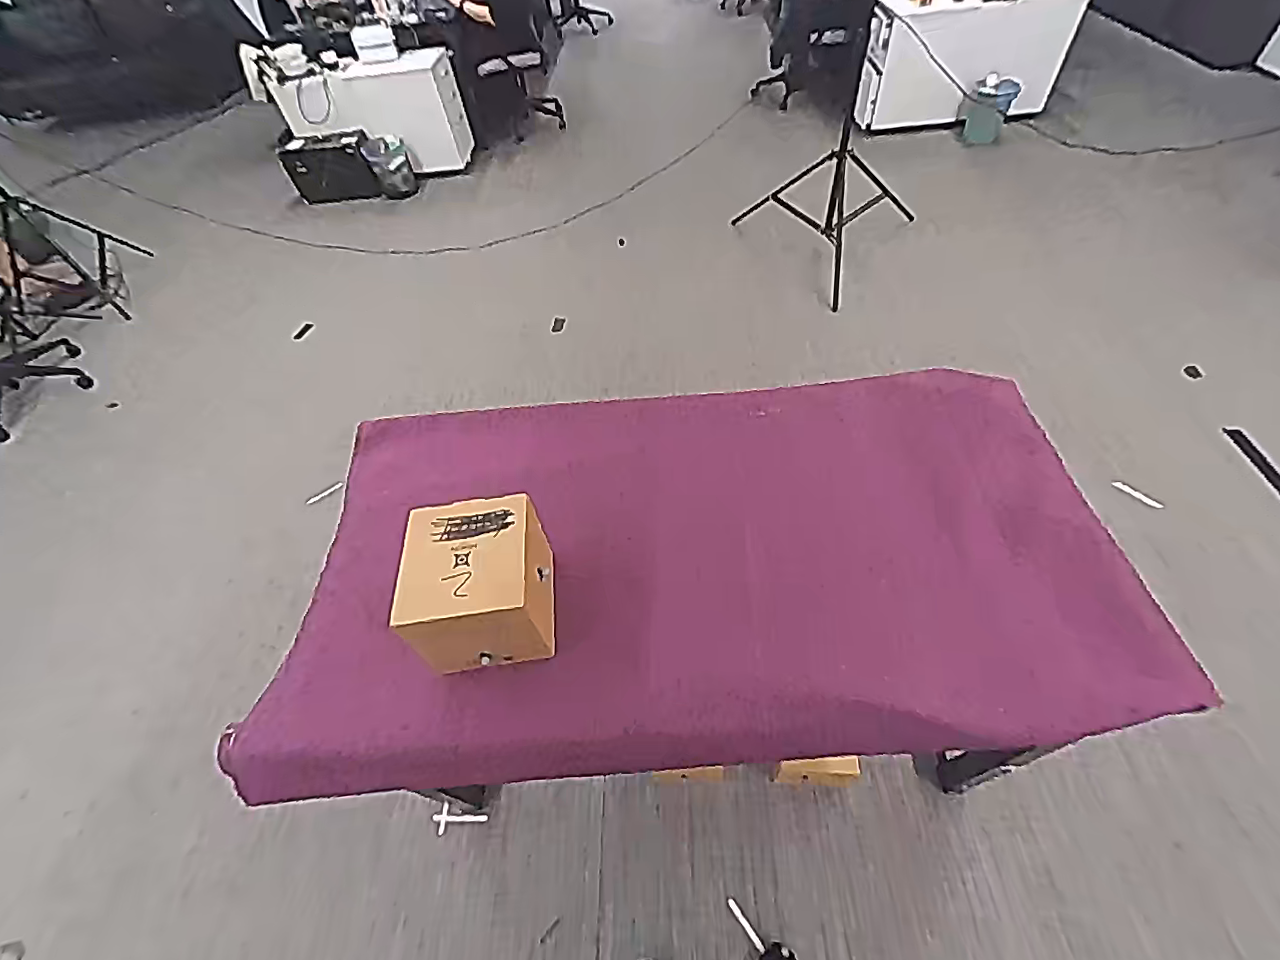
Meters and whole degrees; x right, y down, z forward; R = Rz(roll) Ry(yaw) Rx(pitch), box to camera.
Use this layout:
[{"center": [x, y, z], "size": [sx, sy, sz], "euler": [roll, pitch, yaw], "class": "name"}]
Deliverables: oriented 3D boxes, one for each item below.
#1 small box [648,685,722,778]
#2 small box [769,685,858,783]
[{"center": [0.109, 0.606, 1.295], "size": [0.168, 0.176, 0.179], "euler": [-2, 51, 5], "class": "small box"}, {"center": [0.398, 0.599, 1.268], "size": [0.168, 0.176, 0.179], "euler": [-1, 51, 7], "class": "small box"}]
